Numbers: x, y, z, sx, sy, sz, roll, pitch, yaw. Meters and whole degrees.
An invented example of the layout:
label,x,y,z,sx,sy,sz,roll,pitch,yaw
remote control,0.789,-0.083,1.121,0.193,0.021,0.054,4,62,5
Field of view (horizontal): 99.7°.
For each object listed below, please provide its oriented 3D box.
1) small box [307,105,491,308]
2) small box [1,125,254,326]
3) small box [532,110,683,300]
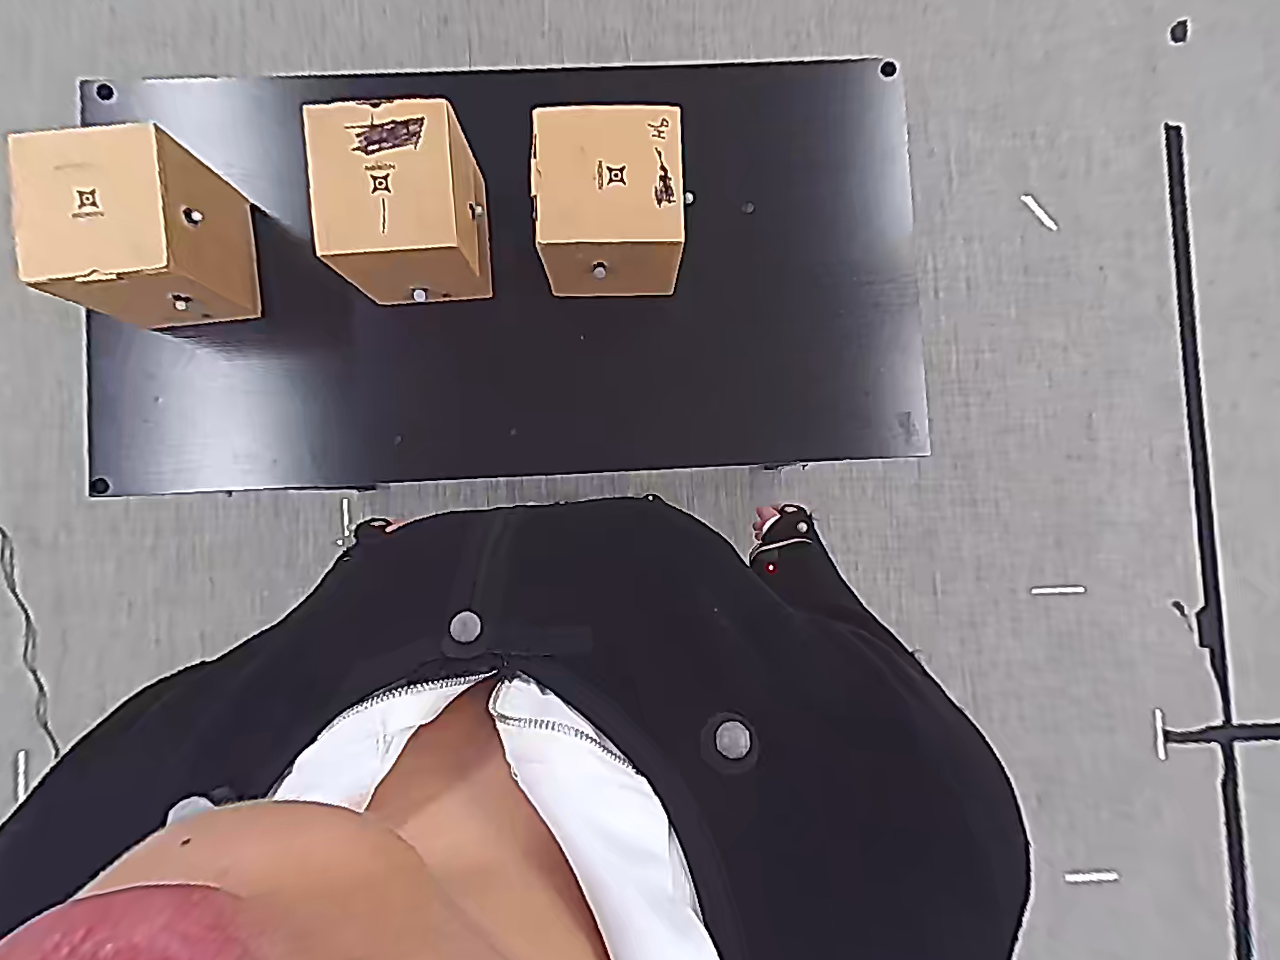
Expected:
label,x,y,z,sx,sy,sz,roll,pitch,yaw
small box,-0.298,-0.340,0.699,0.168,0.176,0.179,-4,89,-2
small box,-0.628,-0.306,0.687,0.168,0.176,0.179,-7,87,-4
small box,-0.038,-0.346,0.709,0.179,0.176,0.168,-1,88,-1
